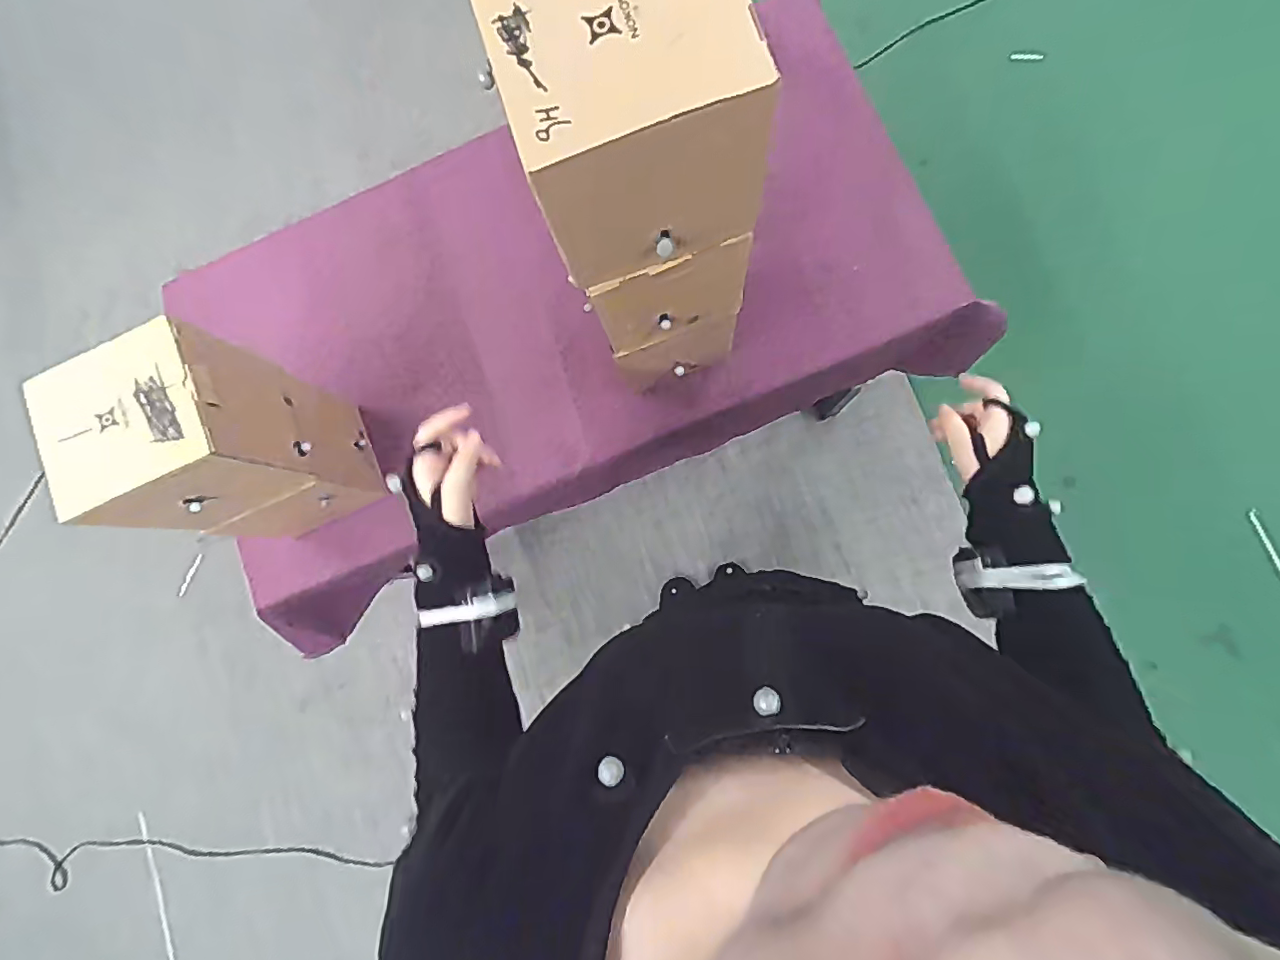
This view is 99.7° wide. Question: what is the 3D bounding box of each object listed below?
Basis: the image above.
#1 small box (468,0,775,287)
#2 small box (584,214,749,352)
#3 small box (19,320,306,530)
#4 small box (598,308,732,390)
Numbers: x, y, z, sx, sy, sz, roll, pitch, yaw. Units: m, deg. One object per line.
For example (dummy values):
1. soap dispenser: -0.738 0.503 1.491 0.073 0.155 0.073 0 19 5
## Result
1. small box: -0.012 -0.288 0.437 0.179 0.176 0.168 -18 82 2
2. small box: 0.006 -0.271 0.600 0.168 0.176 0.179 -20 82 3
3. small box: -0.527 -0.050 0.626 0.179 0.176 0.168 -25 81 2
4. small box: 0.019 -0.250 0.761 0.168 0.176 0.179 -20 82 4
